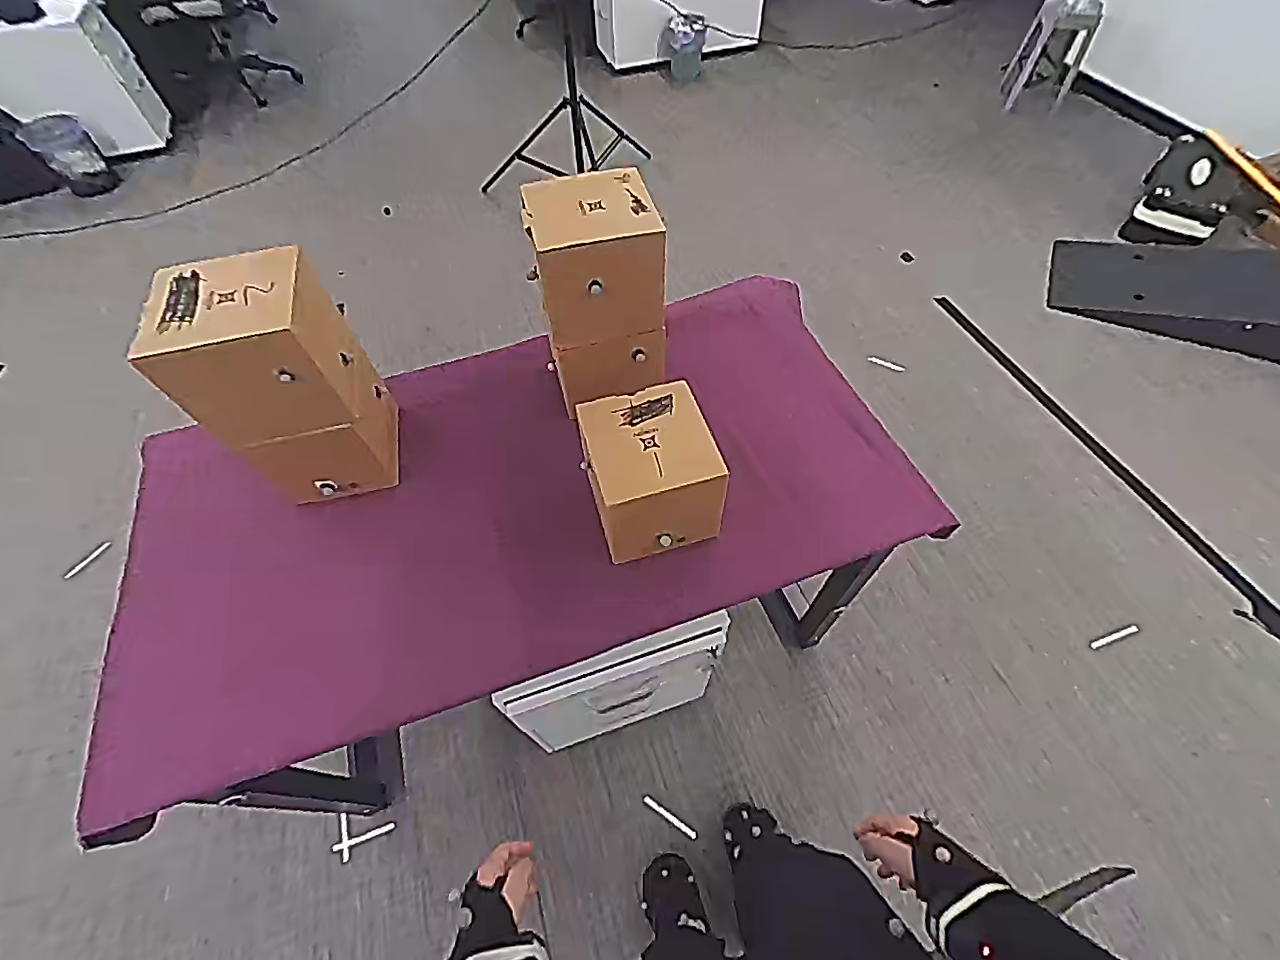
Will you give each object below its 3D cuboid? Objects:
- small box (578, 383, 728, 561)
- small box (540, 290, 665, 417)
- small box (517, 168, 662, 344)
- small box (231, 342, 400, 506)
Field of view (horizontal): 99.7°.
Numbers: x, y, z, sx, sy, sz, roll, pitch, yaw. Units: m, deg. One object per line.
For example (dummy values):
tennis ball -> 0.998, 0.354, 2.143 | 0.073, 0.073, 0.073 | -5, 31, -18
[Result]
small box -> 0.013, -0.009, 0.788 | 0.168, 0.176, 0.179 | -15, 57, -8
small box -> -0.064, -0.236, 0.941 | 0.179, 0.176, 0.168 | -14, 58, -7
small box -> -0.069, -0.326, 0.804 | 0.179, 0.176, 0.168 | -14, 58, -6
small box -> -0.495, -0.085, 0.854 | 0.168, 0.176, 0.179 | -13, 59, -6
